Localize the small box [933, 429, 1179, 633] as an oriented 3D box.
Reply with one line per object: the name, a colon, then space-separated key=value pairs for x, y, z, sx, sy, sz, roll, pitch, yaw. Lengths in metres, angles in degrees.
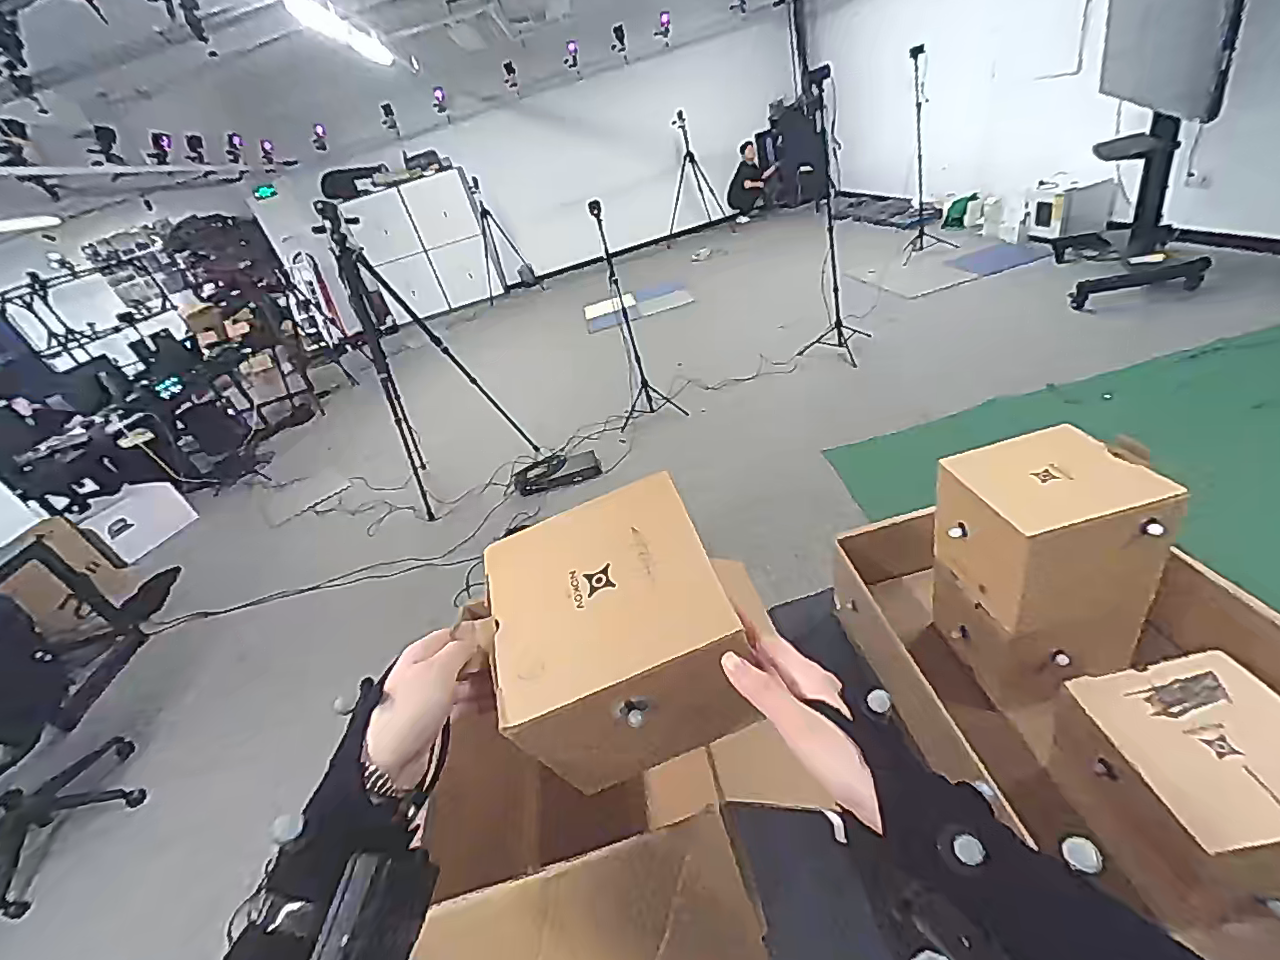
small box: x=0.497 y=0.065 z=0.678 sx=0.179 sy=0.176 sz=0.168 roll=-16 pitch=33 yaw=2

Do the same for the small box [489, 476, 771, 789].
small box: x=-0.006 y=0.133 z=0.461 sx=0.179 sy=0.176 sz=0.168 roll=-23 pitch=45 yaw=0
